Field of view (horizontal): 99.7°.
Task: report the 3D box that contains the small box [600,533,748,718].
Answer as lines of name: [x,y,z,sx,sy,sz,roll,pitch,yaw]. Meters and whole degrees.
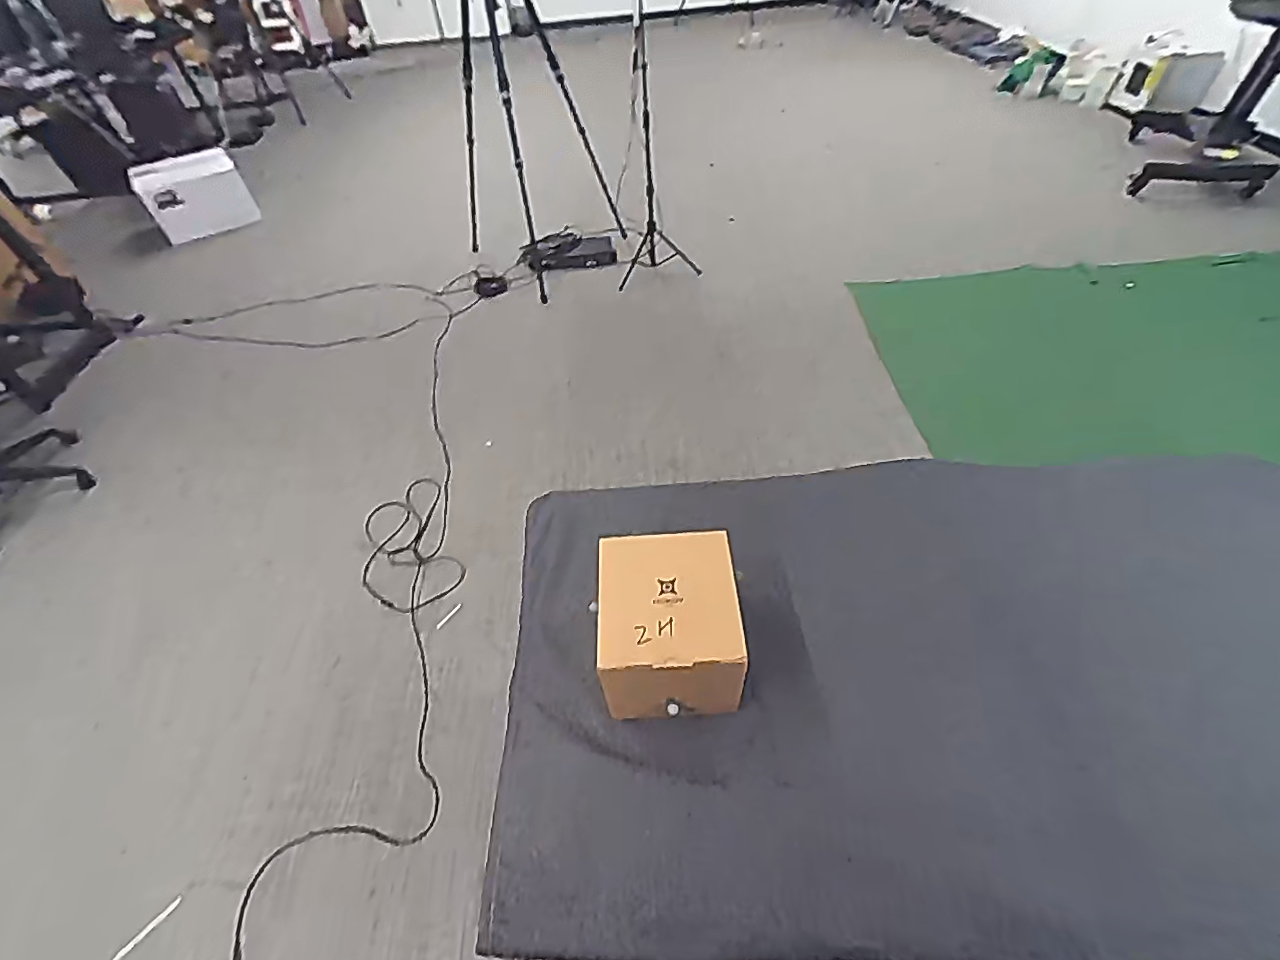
small box: [0.039,0.190,0.702,0.168,0.176,0.179,-4,48,2]
